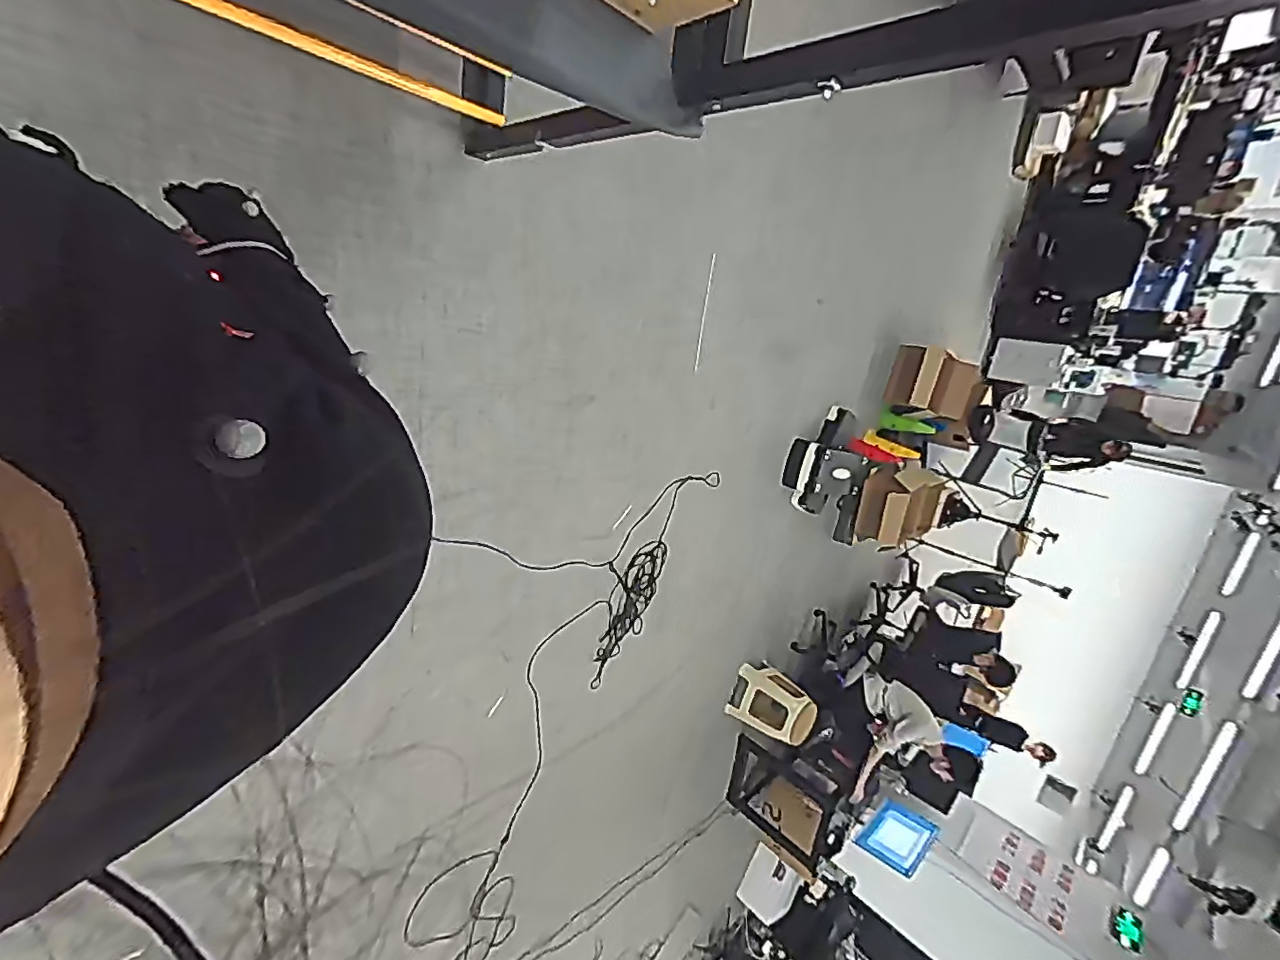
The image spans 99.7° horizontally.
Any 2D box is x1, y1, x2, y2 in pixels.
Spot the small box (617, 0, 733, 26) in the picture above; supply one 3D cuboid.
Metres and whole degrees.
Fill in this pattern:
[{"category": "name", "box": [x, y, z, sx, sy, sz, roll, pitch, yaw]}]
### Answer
[{"category": "small box", "box": [0.030, -0.769, 0.735, 0.168, 0.176, 0.179, -10, 113, -45]}]
